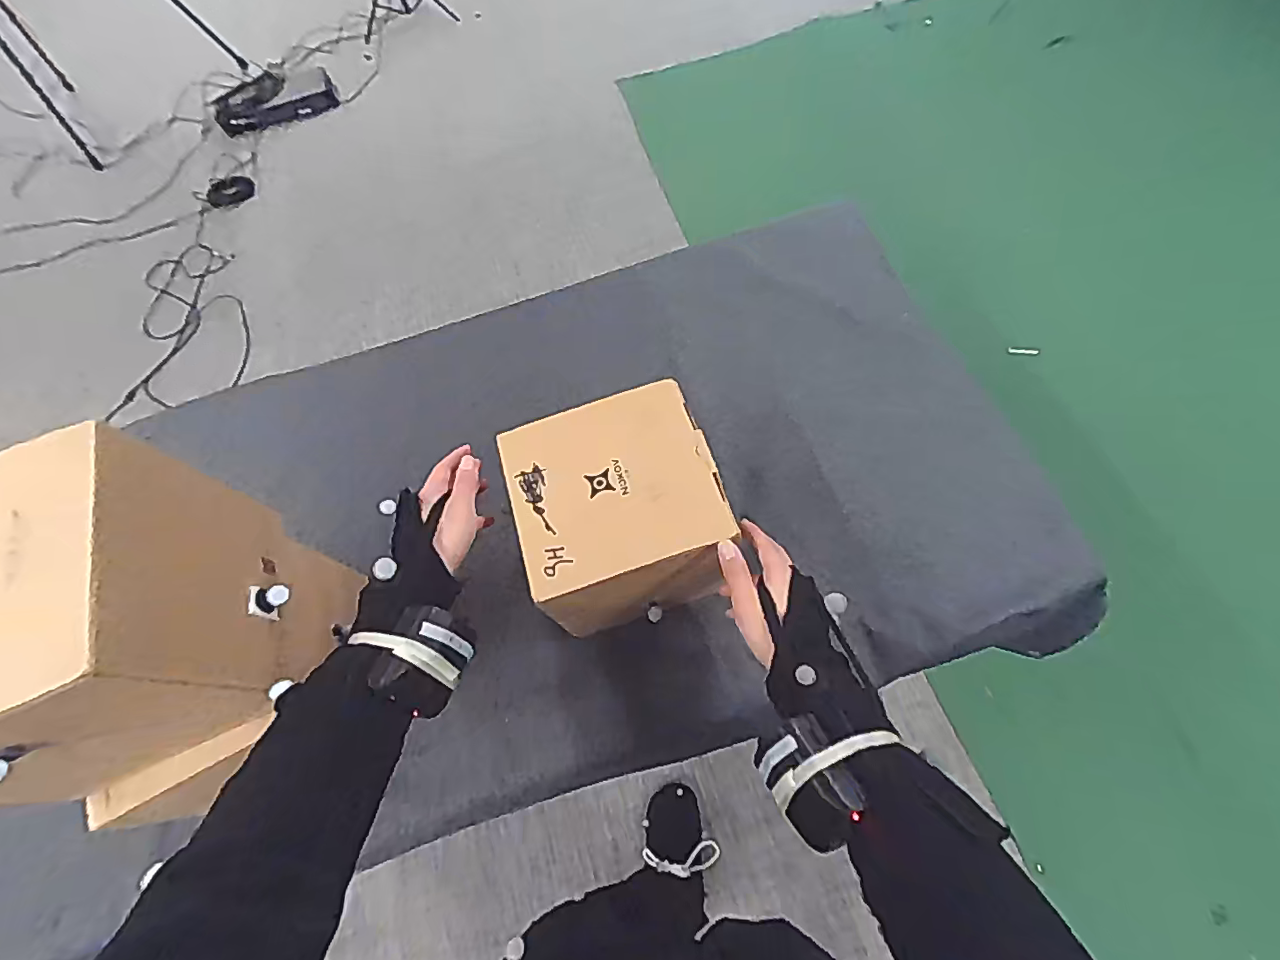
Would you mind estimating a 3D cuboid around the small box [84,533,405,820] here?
[{"bbox_3d":[-0.351,0.176,0.502,0.168,0.176,0.179,-28,66,-7],"label":"small box"}]

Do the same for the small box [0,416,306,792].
[{"bbox_3d":[-0.368,0.093,0.362,0.179,0.176,0.168,-24,66,-6],"label":"small box"}]

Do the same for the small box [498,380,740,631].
[{"bbox_3d":[-0.017,0.035,0.534,0.179,0.176,0.168,-18,65,-2],"label":"small box"}]
